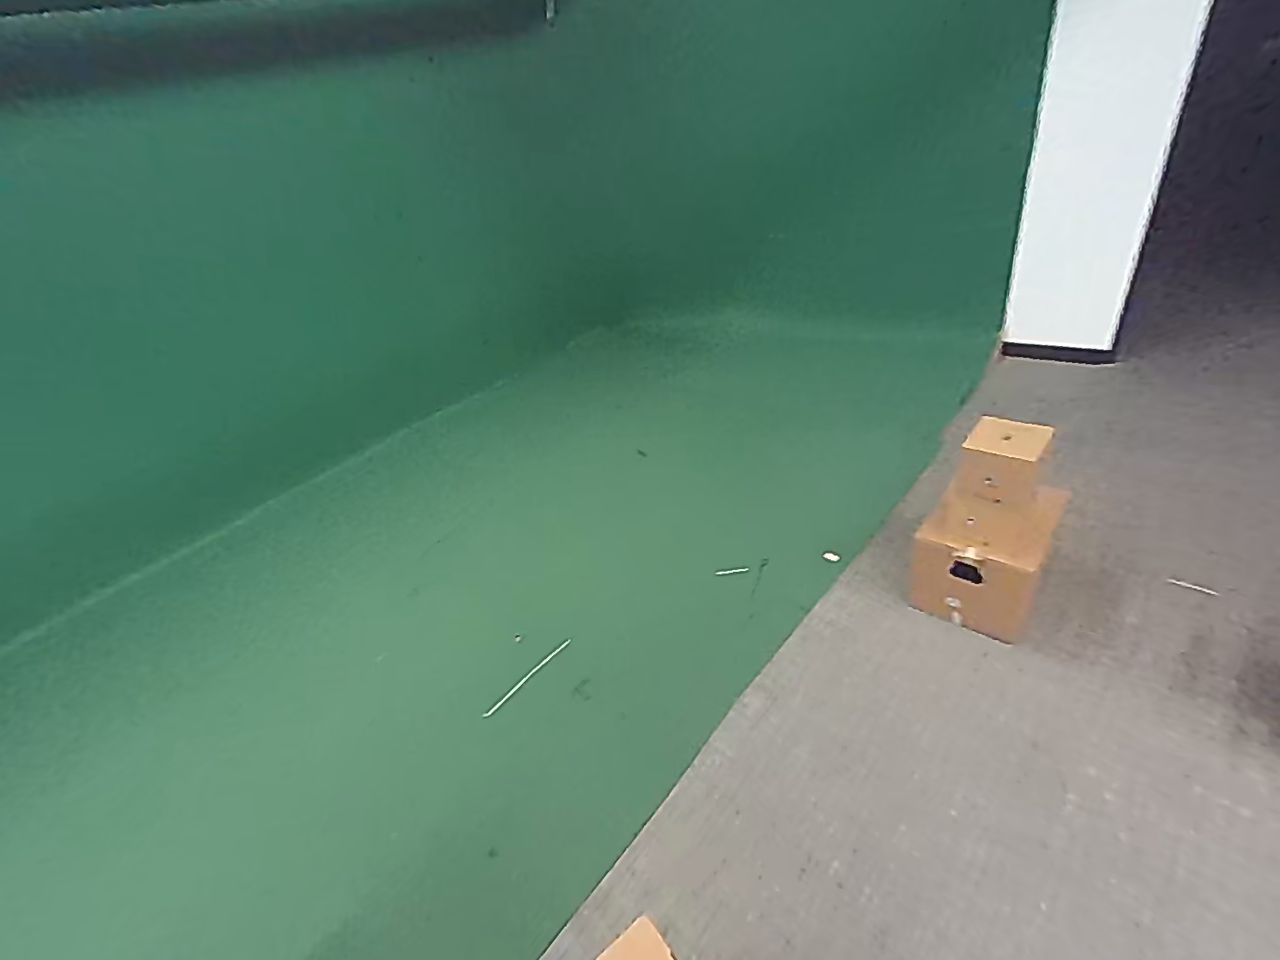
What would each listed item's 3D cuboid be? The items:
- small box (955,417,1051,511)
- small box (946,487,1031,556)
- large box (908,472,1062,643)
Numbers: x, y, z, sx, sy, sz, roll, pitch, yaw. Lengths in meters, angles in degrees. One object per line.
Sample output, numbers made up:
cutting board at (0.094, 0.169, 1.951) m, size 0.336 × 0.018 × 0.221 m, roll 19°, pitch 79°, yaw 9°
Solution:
small box at (0.965, -0.042, 1.449) m, size 0.168 × 0.176 × 0.179 m, roll 22°, pitch 47°, yaw 41°
small box at (0.995, 0.087, 1.547) m, size 0.168 × 0.176 × 0.179 m, roll 22°, pitch 47°, yaw 41°
large box at (1.096, 0.234, 1.736) m, size 0.320 × 0.320 × 0.408 m, roll 20°, pitch 46°, yaw 40°
